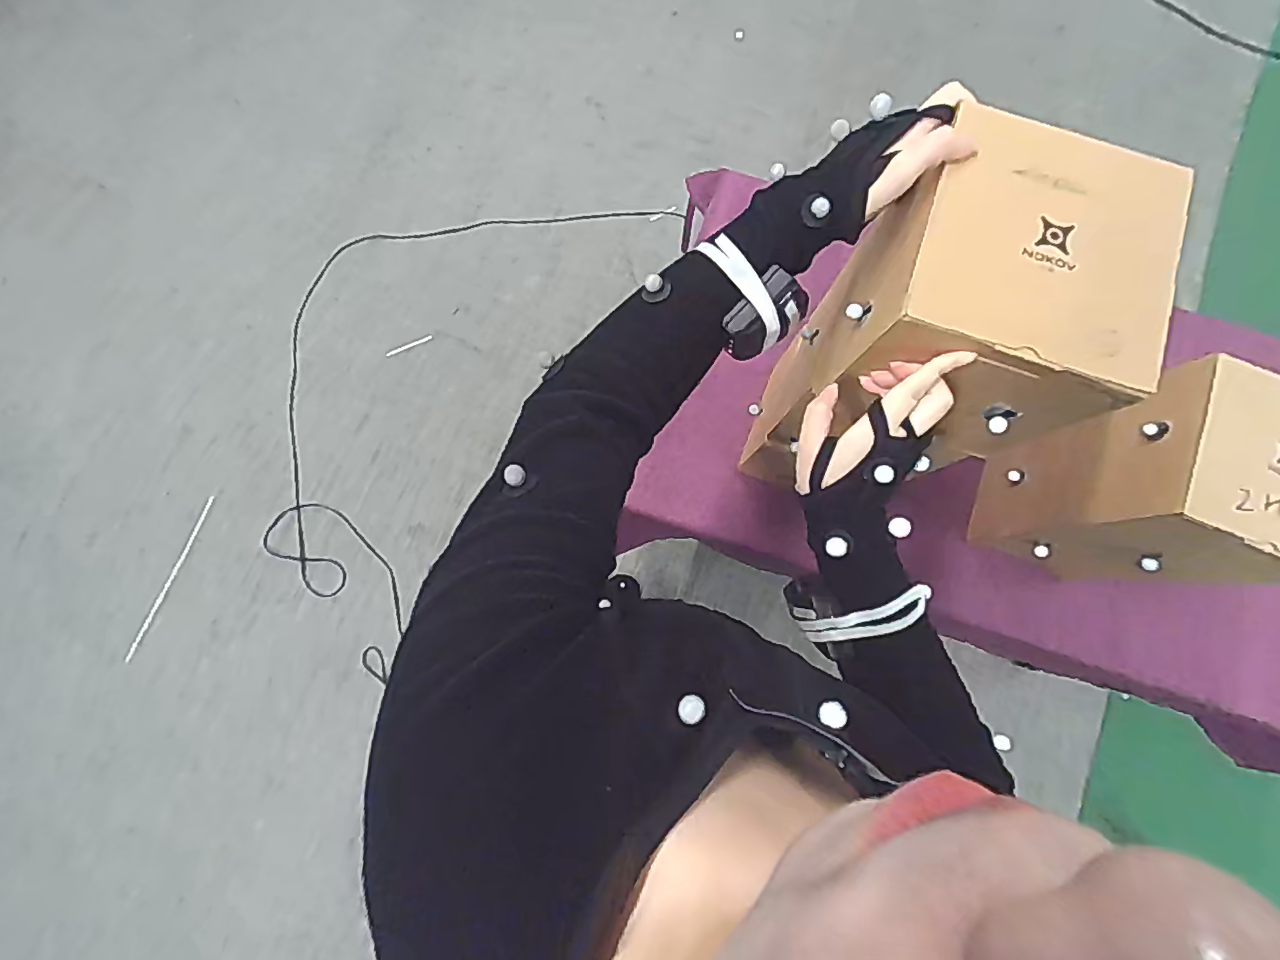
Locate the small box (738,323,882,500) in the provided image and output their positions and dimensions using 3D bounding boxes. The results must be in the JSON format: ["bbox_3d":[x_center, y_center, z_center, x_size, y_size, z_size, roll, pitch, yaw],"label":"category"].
[{"bbox_3d":[0.249,-0.082,0.761,0.168,0.176,0.179,22,81,1],"label":"small box"}]

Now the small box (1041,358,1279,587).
[{"bbox_3d":[0.589,0.003,0.590,0.168,0.176,0.179,24,80,3],"label":"small box"}]

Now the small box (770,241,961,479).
[{"bbox_3d":[0.259,-0.117,0.600,0.168,0.176,0.179,22,79,2],"label":"small box"}]

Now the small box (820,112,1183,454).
[{"bbox_3d":[0.265,-0.137,0.438,0.168,0.176,0.179,19,79,1],"label":"small box"}]
